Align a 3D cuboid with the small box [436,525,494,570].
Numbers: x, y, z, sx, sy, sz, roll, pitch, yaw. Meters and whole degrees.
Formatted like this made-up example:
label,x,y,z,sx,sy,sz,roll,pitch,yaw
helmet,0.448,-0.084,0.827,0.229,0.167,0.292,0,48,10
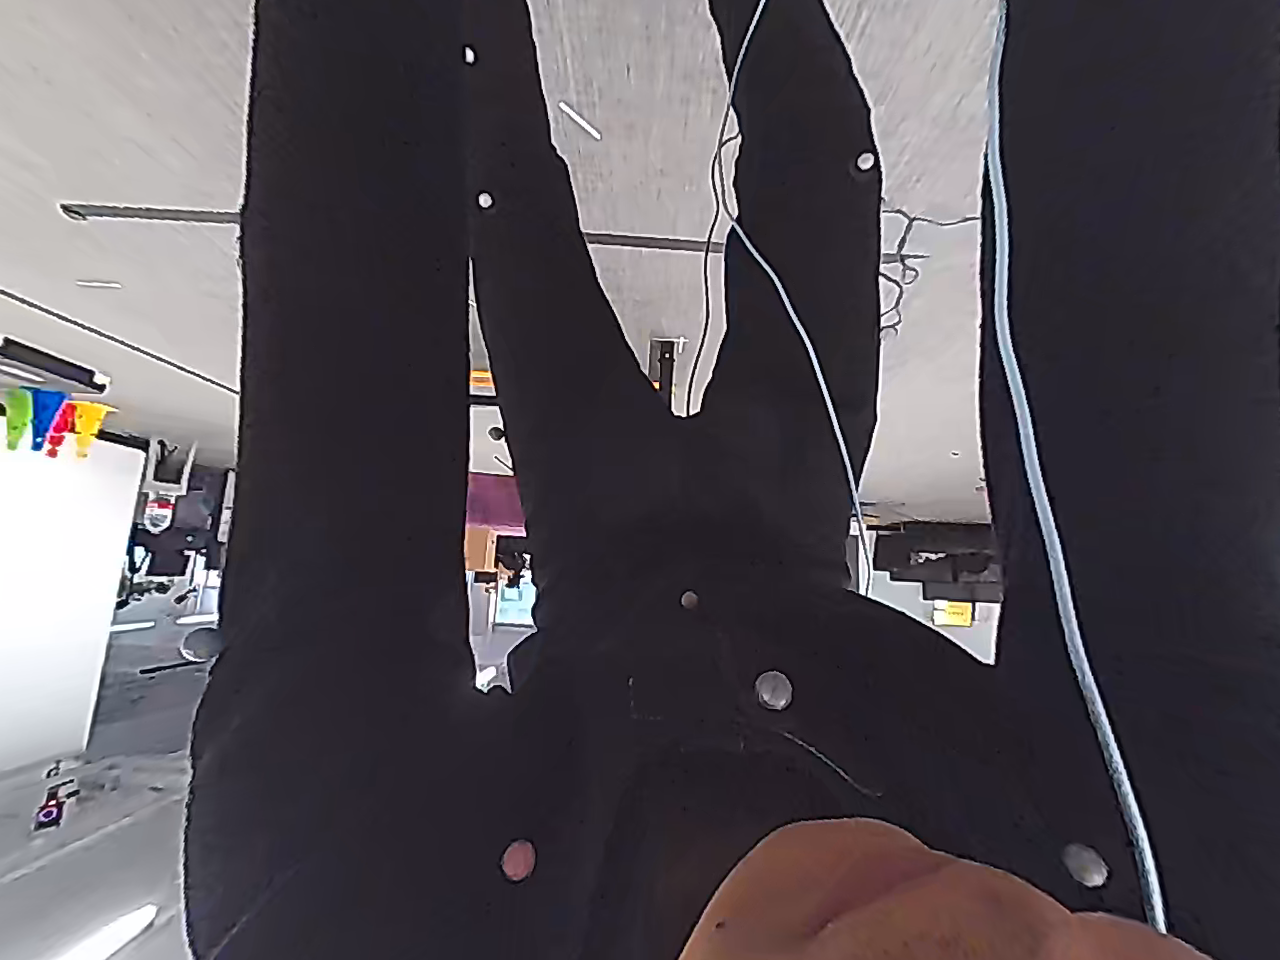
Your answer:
label,x,y,z,sx,sy,sz,roll,pitch,yaw
small box,-0.682,0.266,2.122,0.179,0.176,0.168,3,171,-3
